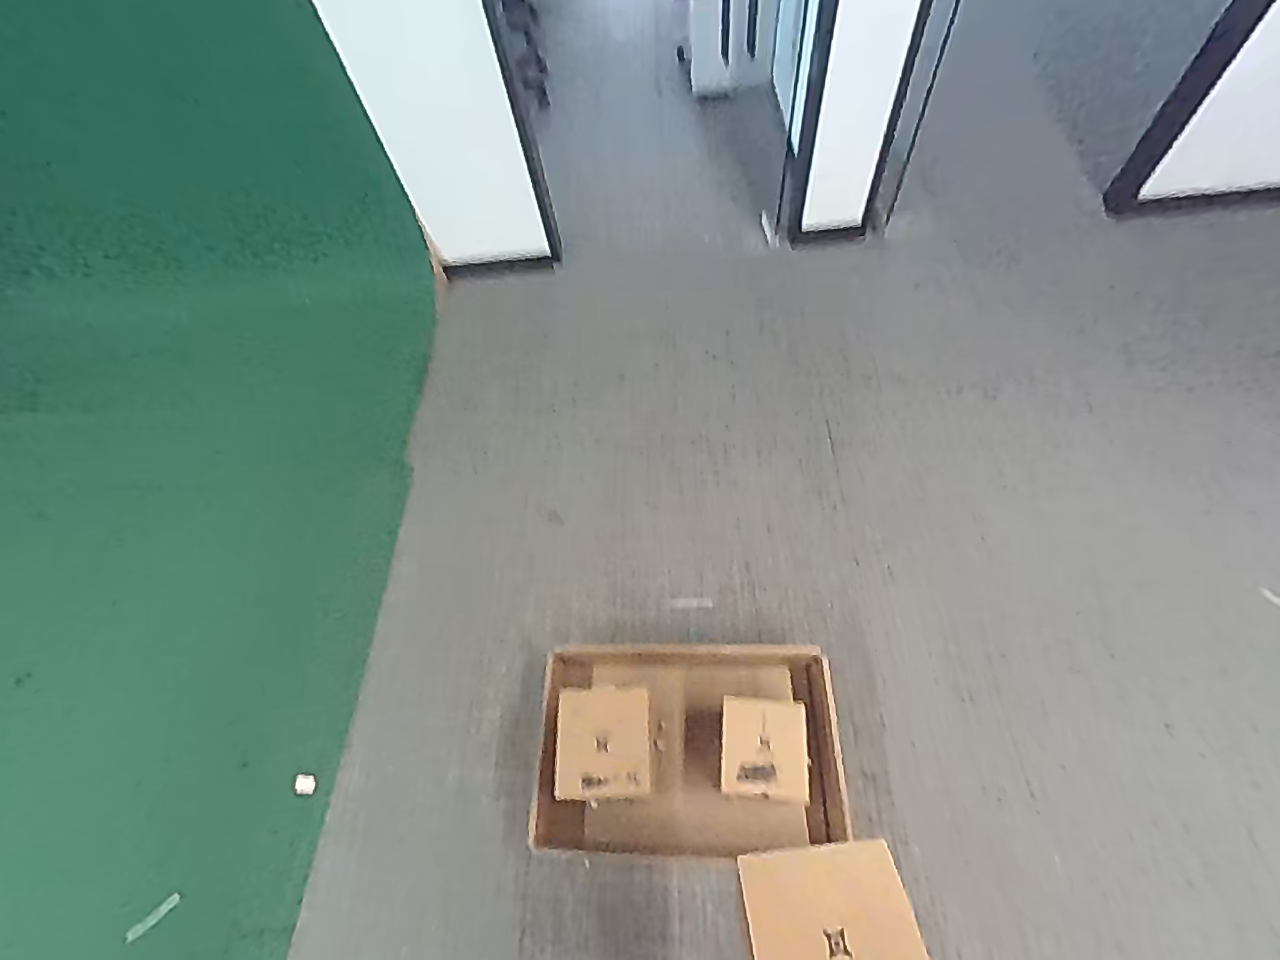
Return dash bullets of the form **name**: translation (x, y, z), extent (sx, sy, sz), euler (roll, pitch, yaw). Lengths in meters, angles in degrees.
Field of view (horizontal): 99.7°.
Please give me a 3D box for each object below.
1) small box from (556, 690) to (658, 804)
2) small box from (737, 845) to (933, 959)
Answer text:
- **small box**: translation (-0.054, 0.505, 1.015), extent (0.168, 0.176, 0.179), euler (-3, 58, 4)
- **small box**: translation (0.198, 0.513, 0.558), extent (0.168, 0.176, 0.179), euler (-7, 39, 0)
